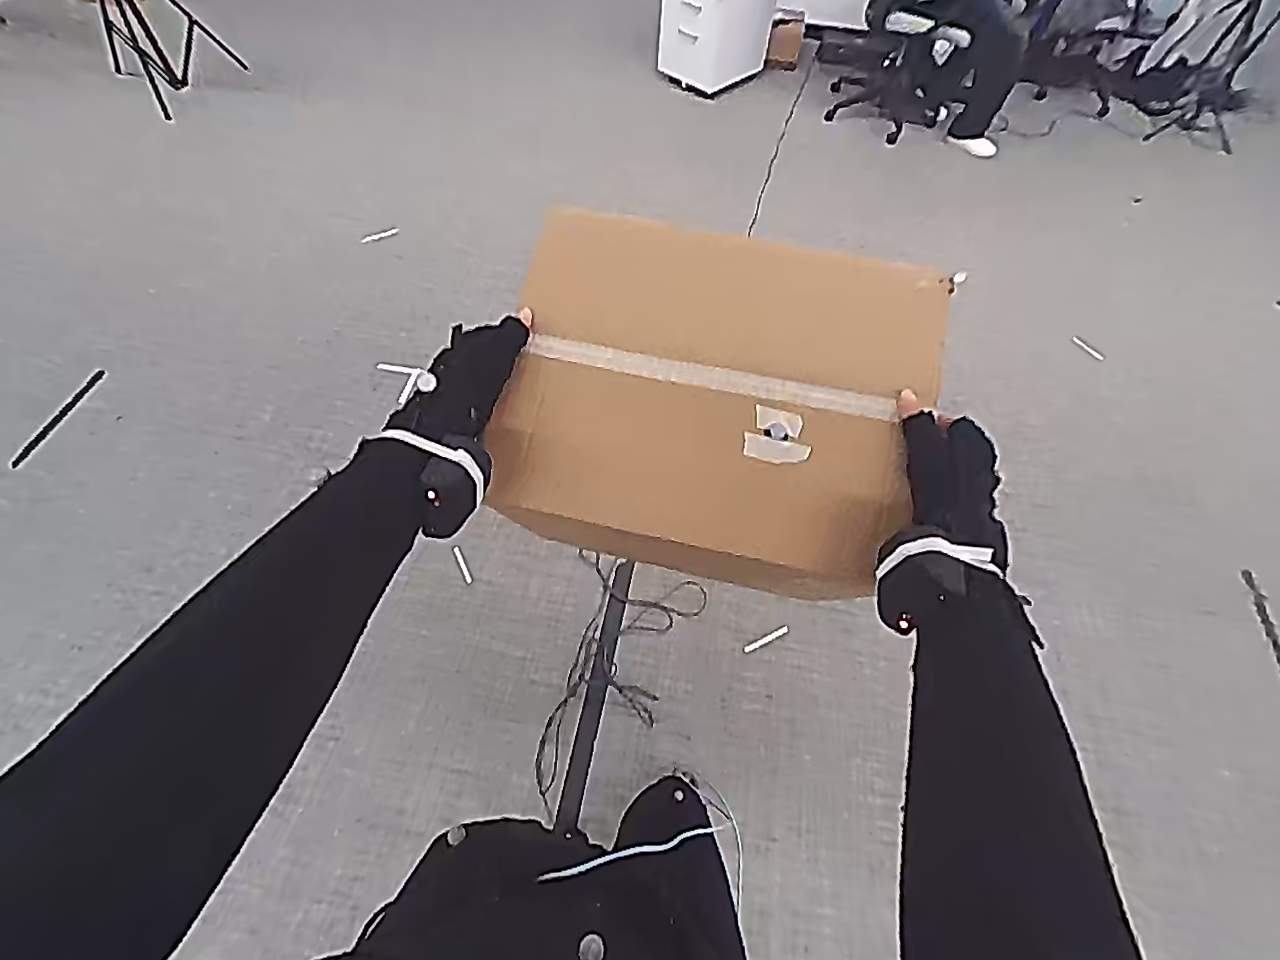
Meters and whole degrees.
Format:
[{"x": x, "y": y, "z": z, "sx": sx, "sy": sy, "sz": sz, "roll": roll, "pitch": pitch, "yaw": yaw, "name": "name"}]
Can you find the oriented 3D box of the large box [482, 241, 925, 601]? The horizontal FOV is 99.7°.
[{"x": 0.073, "y": -0.043, "z": 0.680, "sx": 0.408, "sy": 0.320, "sz": 0.320, "roll": 12, "pitch": 77, "yaw": 4, "name": "large box"}]
